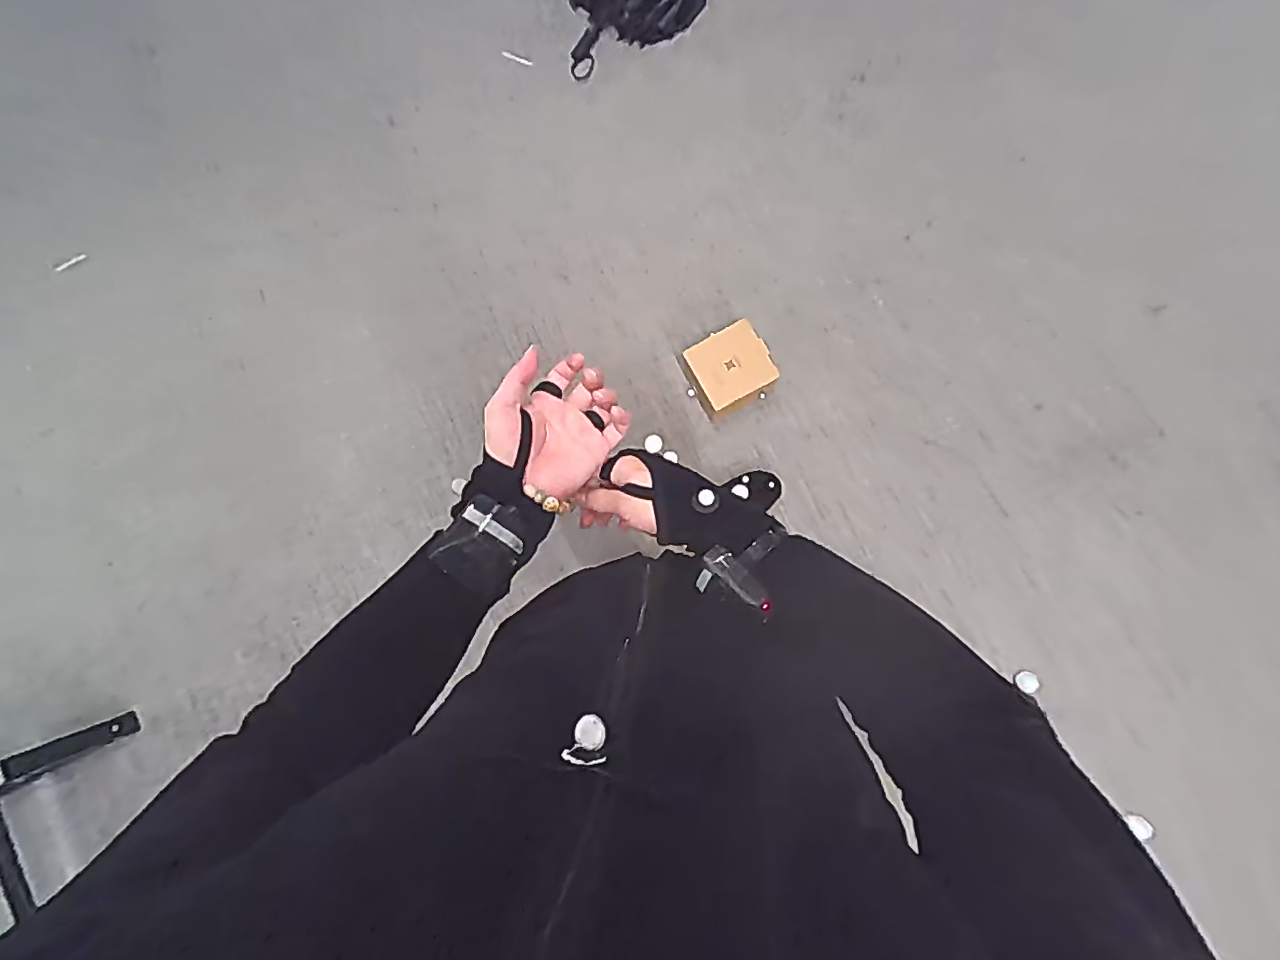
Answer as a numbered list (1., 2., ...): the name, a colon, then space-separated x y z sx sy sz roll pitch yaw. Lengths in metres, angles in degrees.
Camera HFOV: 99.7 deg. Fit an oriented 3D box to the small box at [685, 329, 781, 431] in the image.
1. small box: 0.222 -0.241 1.346 0.179 0.176 0.168 -29 83 3
